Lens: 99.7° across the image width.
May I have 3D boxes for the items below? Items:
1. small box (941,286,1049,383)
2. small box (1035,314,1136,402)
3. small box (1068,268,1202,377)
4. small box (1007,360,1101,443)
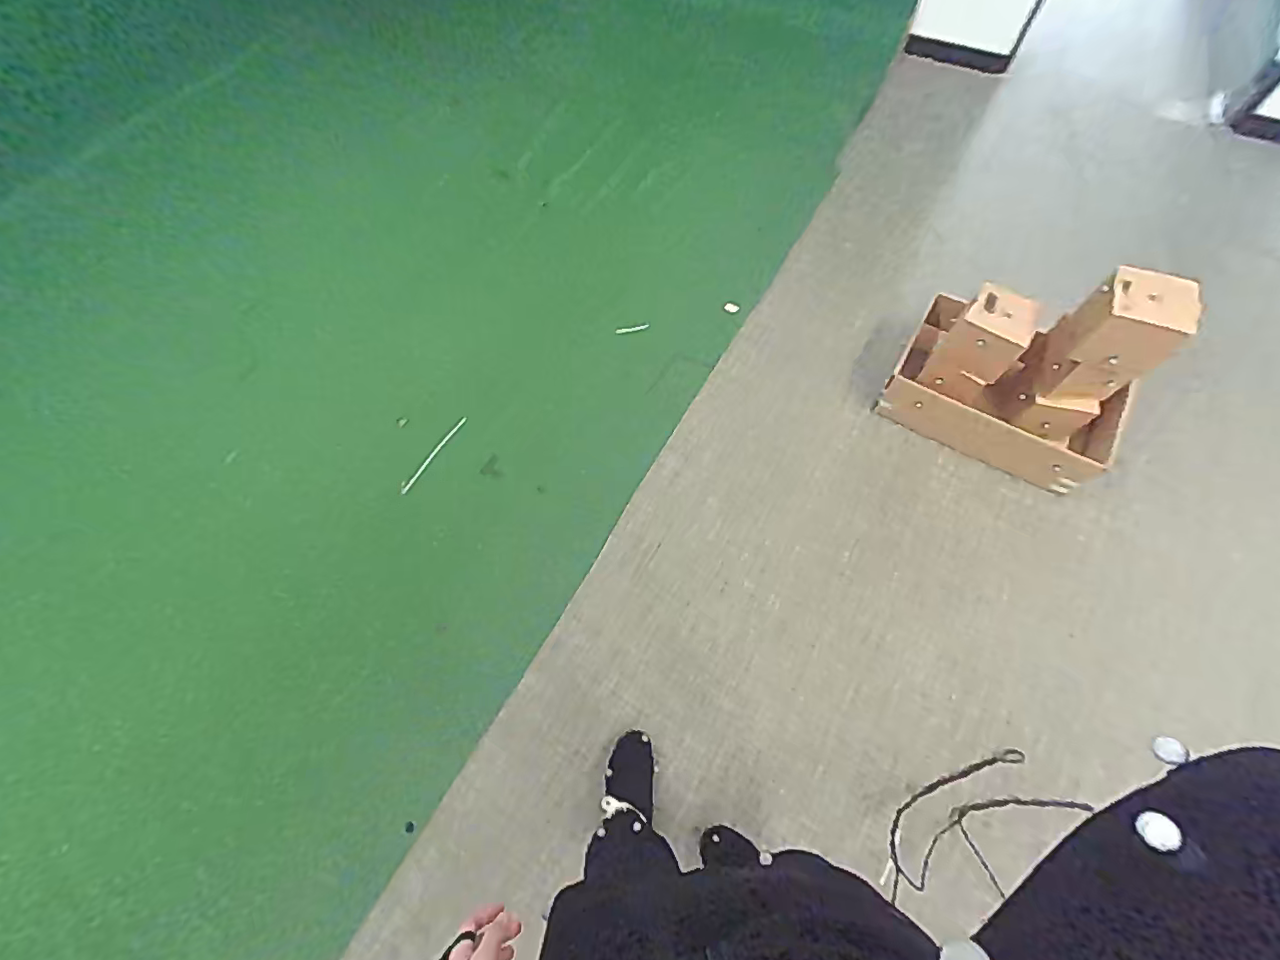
[{"bbox_3d":[0.994,-0.405,1.530,0.179,0.176,0.168,33,70,15],"label":"small box"},{"bbox_3d":[1.231,-0.330,1.484,0.168,0.176,0.179,3,65,5],"label":"small box"},{"bbox_3d":[1.208,-0.379,1.327,0.179,0.176,0.168,21,68,12],"label":"small box"},{"bbox_3d":[1.231,-0.233,1.618,0.168,0.176,0.179,13,66,10],"label":"small box"}]
